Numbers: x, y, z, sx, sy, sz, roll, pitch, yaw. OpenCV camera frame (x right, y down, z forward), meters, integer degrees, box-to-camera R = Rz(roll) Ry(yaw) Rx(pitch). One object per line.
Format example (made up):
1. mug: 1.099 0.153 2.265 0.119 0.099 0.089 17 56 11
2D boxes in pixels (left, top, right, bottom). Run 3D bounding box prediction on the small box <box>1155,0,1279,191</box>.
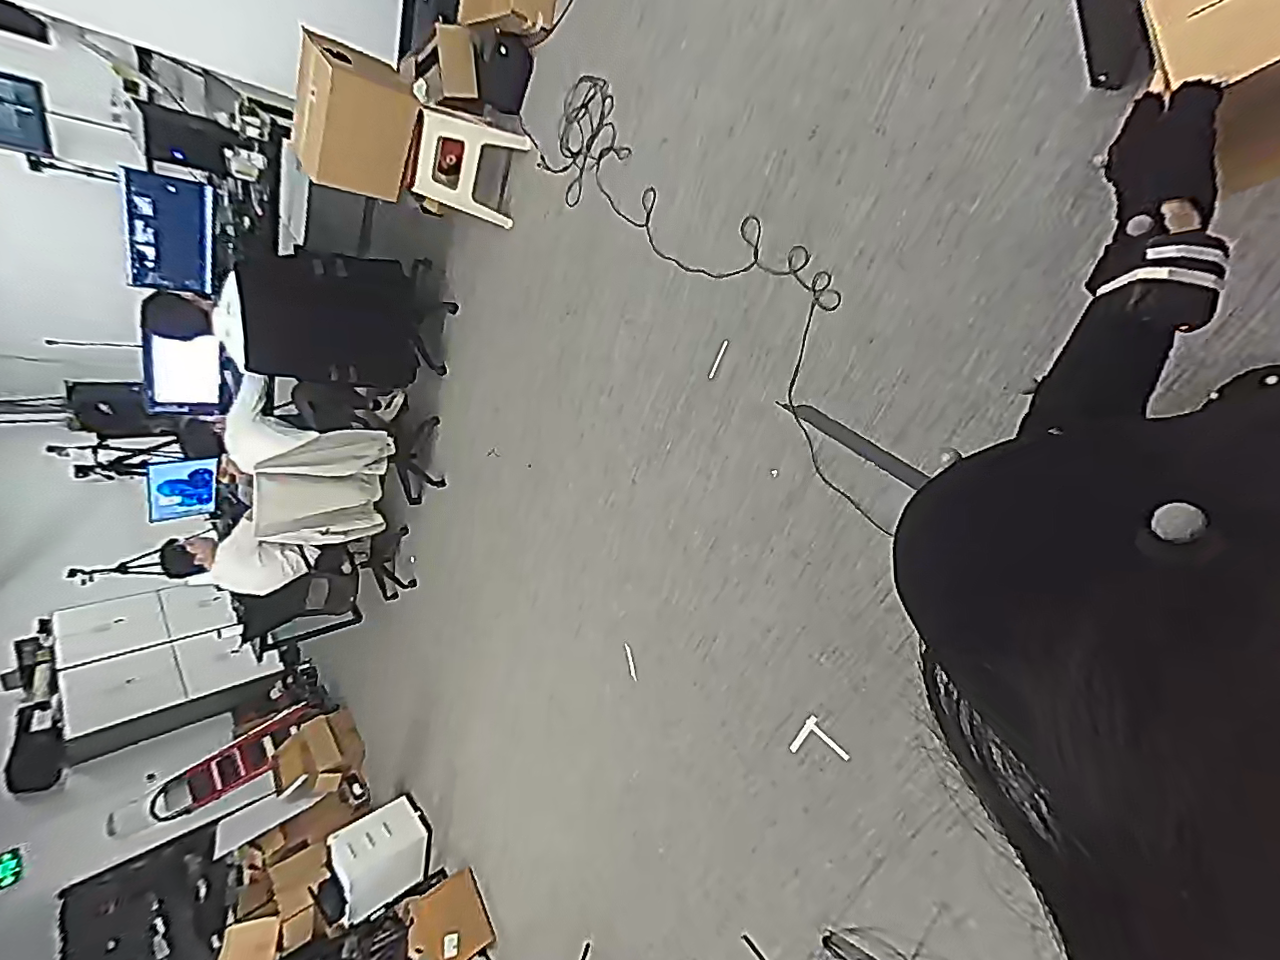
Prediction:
1. small box: 0.569 -0.392 0.452 0.179 0.176 0.168 -16 67 49
